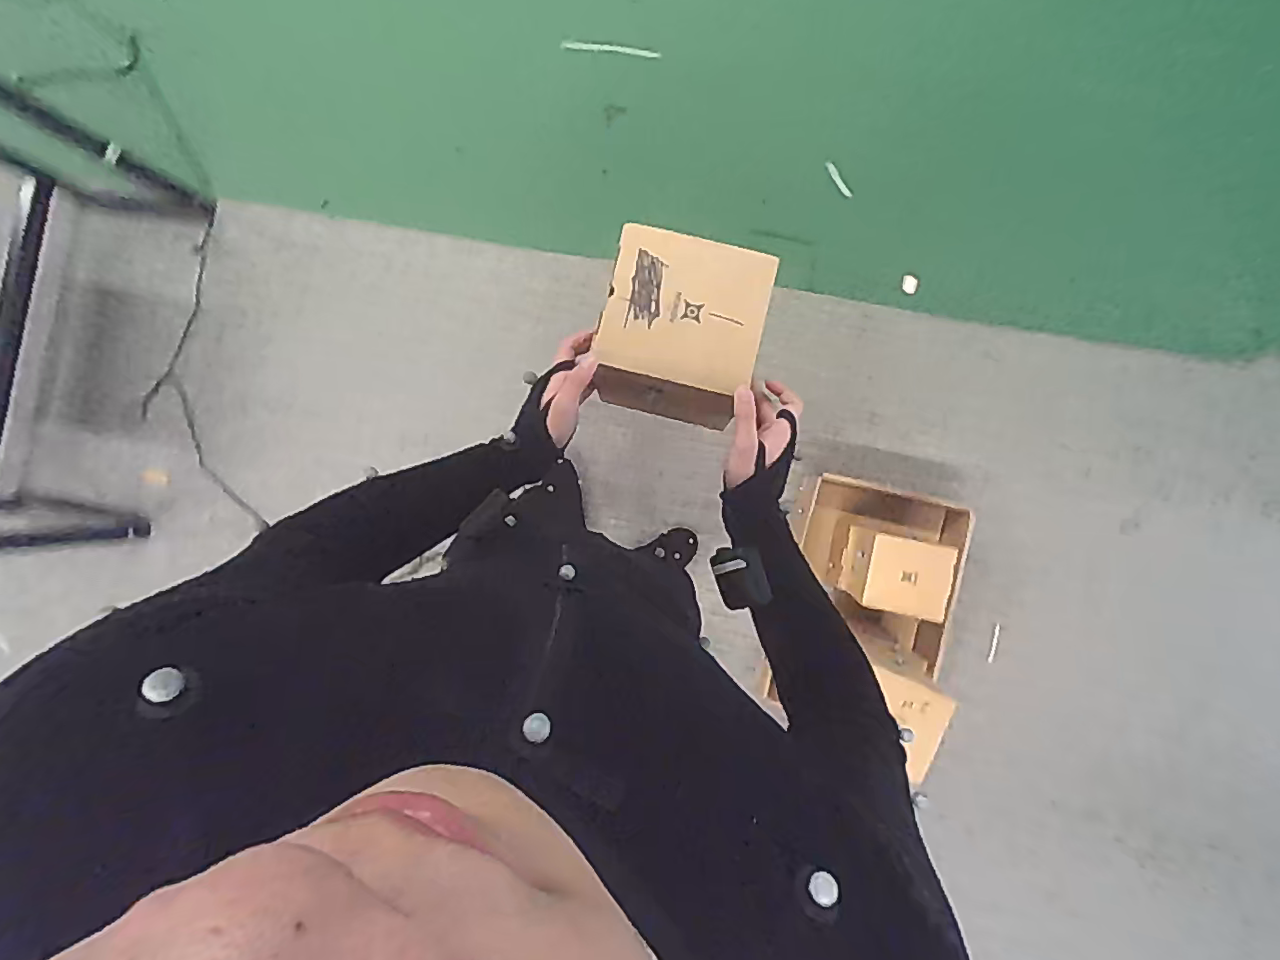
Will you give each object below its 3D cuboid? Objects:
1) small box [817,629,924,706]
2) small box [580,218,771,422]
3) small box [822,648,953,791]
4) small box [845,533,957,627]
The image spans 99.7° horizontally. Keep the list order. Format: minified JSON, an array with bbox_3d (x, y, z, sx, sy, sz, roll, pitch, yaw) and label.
[{"bbox_3d":[0.522,0.468,1.250,0.168,0.176,0.179,17,90,8],"label":"small box"},{"bbox_3d":[0.039,-0.179,0.654,0.179,0.176,0.168,14,84,1],"label":"small box"},{"bbox_3d":[0.483,0.468,1.088,0.168,0.176,0.179,25,91,8],"label":"small box"},{"bbox_3d":[0.593,0.222,1.252,0.179,0.176,0.168,12,92,7],"label":"small box"}]
